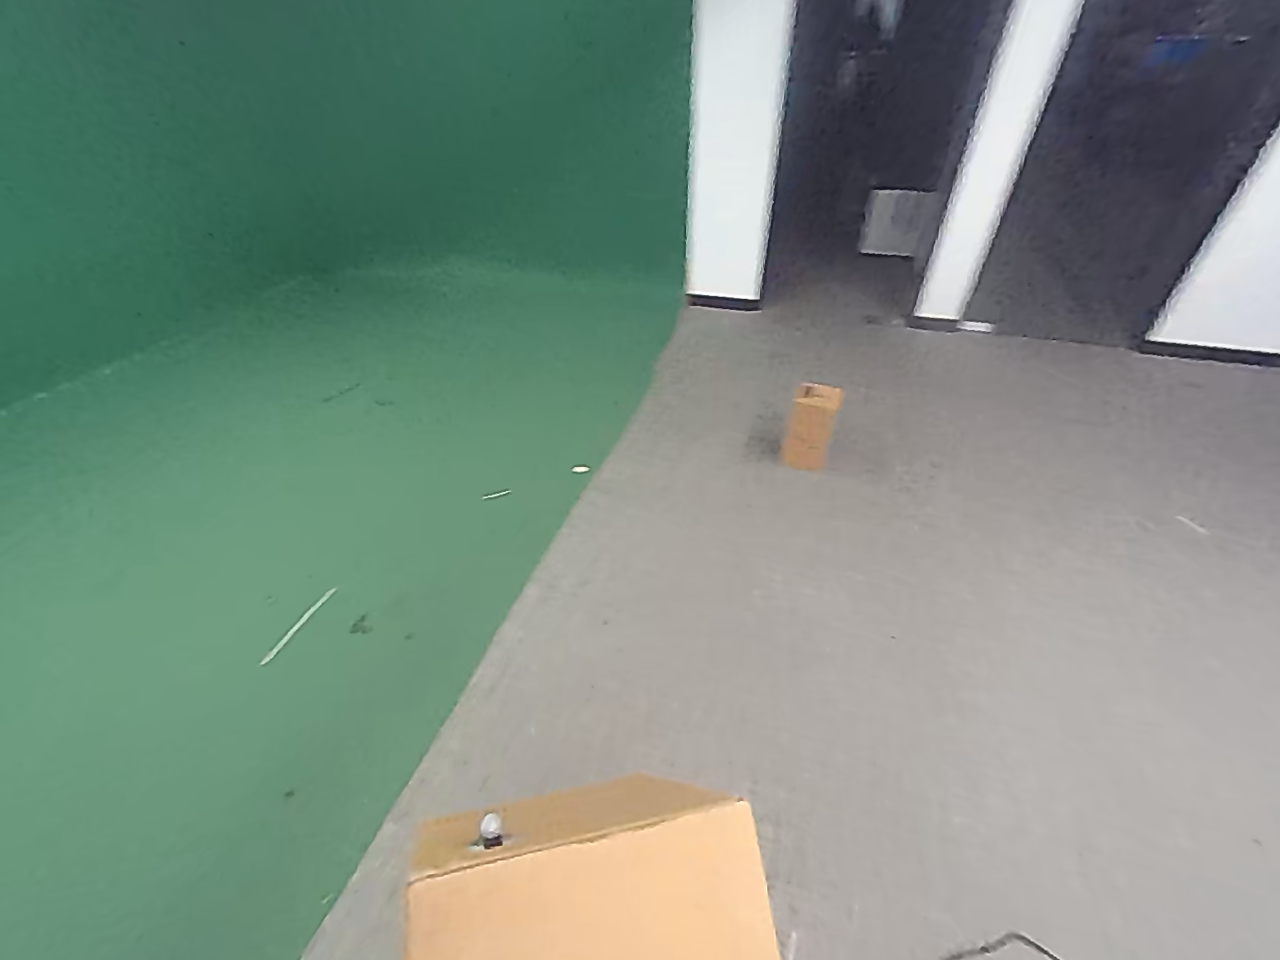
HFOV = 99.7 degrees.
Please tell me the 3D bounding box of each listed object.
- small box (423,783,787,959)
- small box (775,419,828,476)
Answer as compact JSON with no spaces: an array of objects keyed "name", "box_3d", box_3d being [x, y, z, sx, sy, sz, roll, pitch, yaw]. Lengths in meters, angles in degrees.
[{"name":"small box","box_3d":[-0.029,0.286,0.310,0.179,0.176,0.168,0,67,-19]},{"name":"small box","box_3d":[0.702,-0.140,2.355,0.179,0.176,0.168,15,43,19]}]
